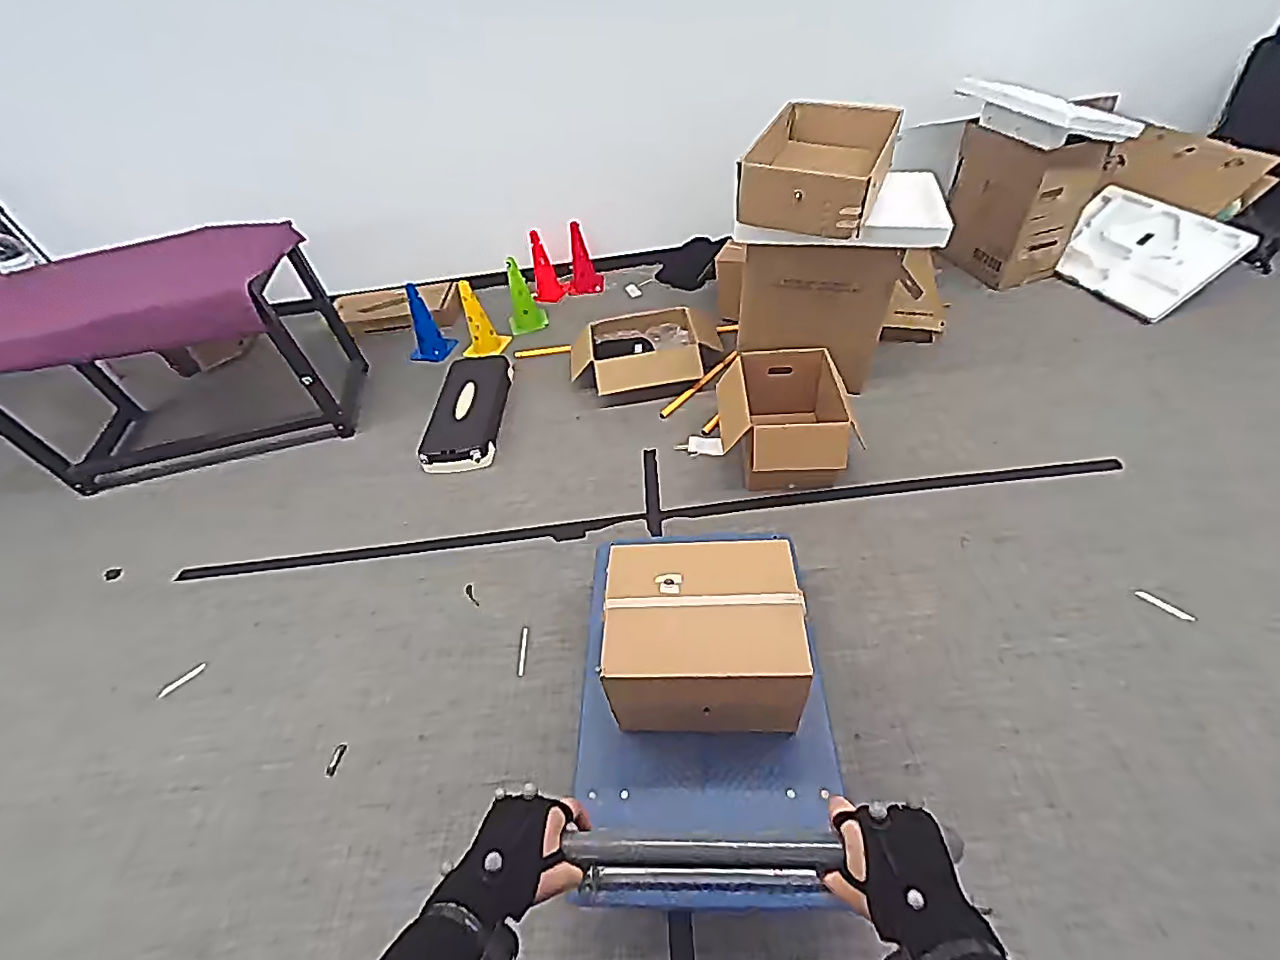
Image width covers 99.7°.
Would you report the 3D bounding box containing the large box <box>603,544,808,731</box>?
[{"bbox_3d":[0.145,0.371,1.251,0.408,0.320,0.320,-4,46,6],"label":"large box"}]
